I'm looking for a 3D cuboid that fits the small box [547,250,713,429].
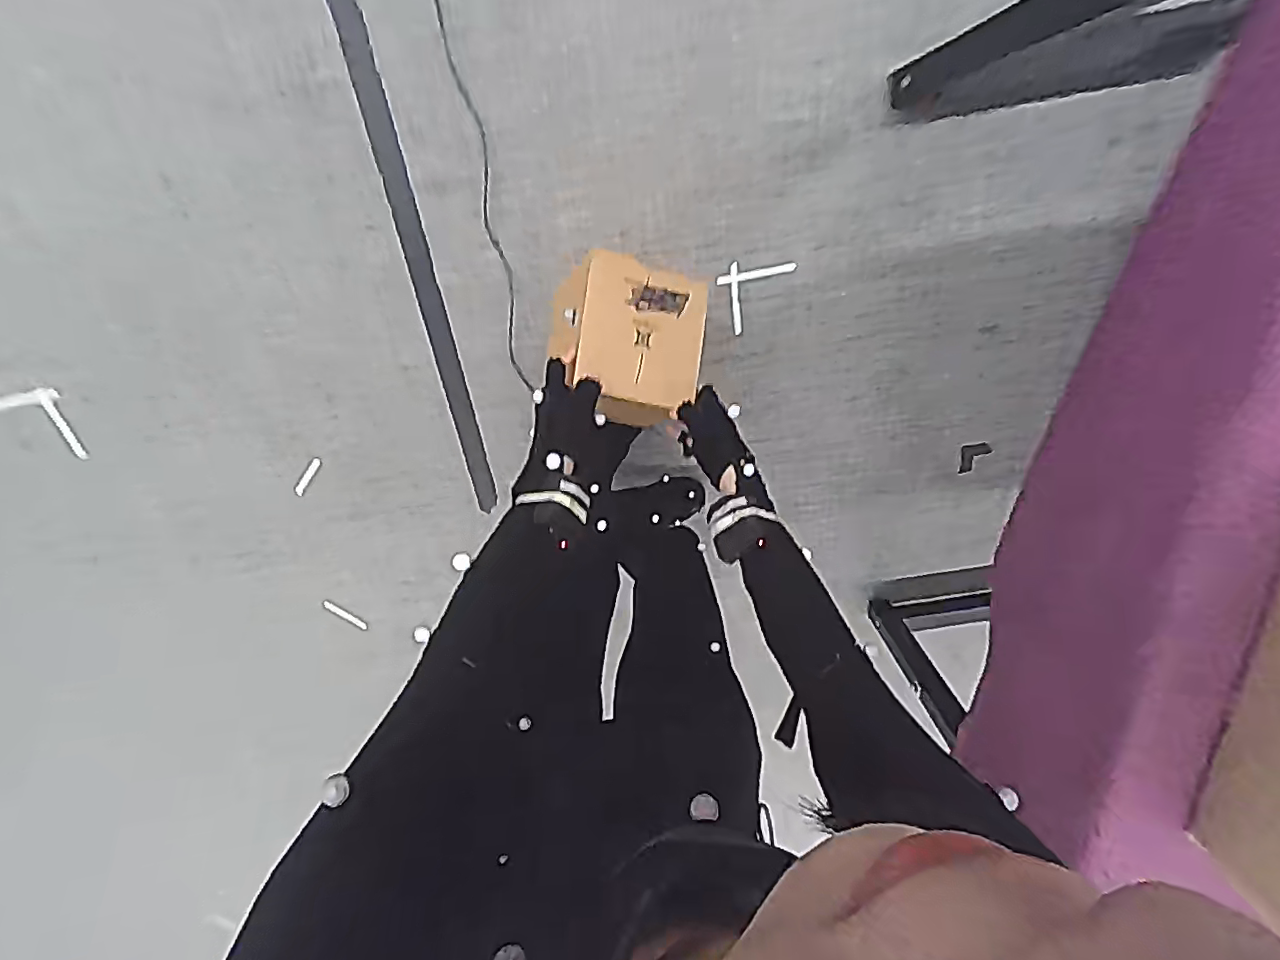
[{"bbox_3d":[-0.021,-0.175,0.737,0.168,0.176,0.179,9,86,-22],"label":"small box"}]
